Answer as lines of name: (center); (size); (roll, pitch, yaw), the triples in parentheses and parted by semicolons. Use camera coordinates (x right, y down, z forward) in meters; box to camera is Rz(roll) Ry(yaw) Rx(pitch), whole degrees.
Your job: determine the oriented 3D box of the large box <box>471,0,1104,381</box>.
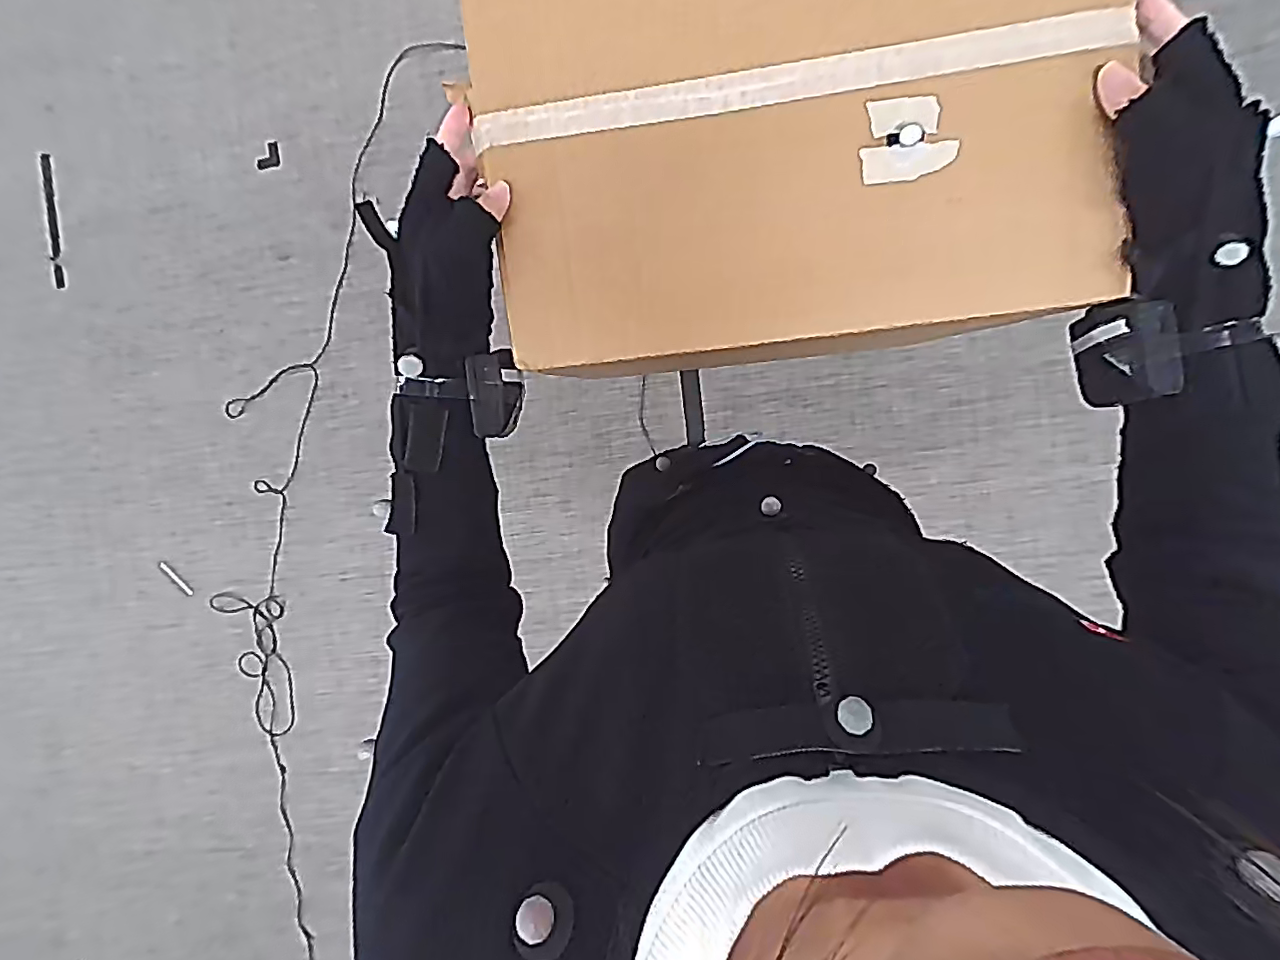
large box: (0.102, -0.277, 0.503); (0.408, 0.320, 0.320); (-6, 99, 4)
